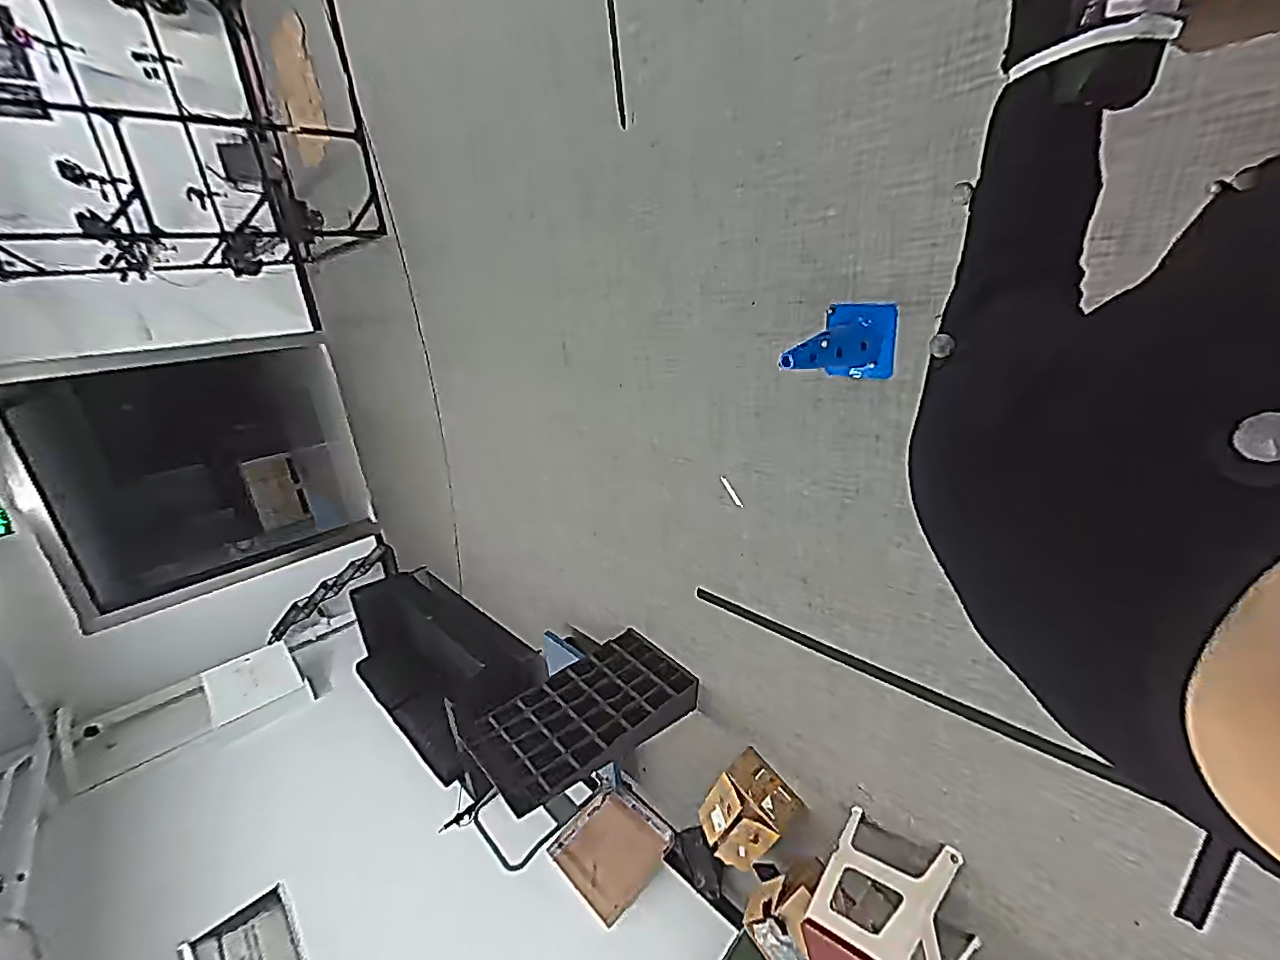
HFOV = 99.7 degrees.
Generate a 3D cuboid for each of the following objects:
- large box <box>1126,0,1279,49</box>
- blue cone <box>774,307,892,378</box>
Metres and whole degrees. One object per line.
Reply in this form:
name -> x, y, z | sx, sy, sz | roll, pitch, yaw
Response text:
large box -> 0.529, -0.468, 0.244 | 0.408, 0.320, 0.320 | 15, 124, 46
blue cone -> 0.487, -0.339, 1.420 | 0.192, 0.380, 0.193 | 21, 122, 45
